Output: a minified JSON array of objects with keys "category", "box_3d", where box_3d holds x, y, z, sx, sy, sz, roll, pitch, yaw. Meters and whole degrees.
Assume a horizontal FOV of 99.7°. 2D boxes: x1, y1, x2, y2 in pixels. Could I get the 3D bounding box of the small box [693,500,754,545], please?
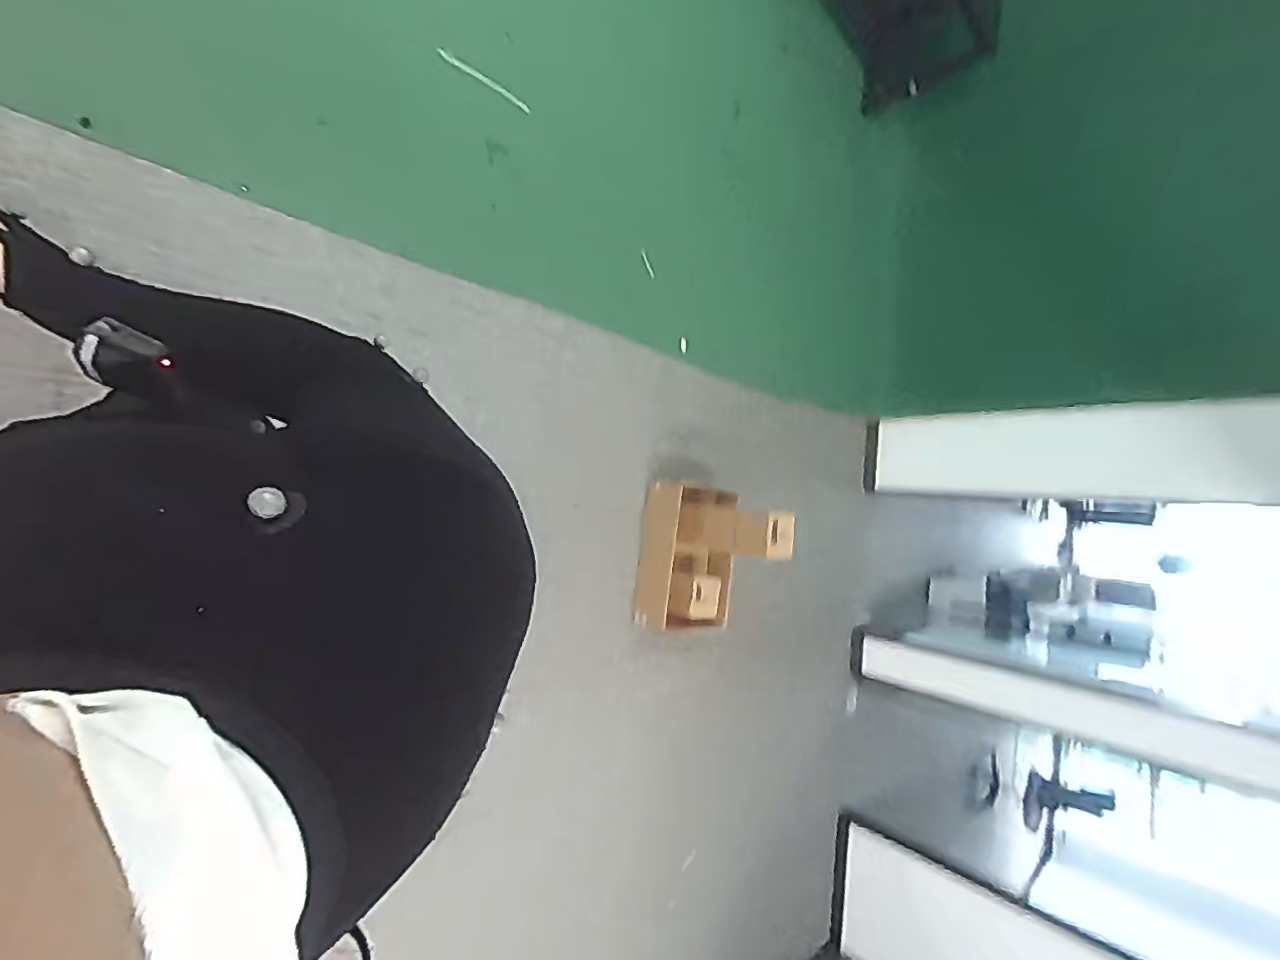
[{"category":"small box","box_3d":[0.341,0.171,2.202,0.179,0.176,0.168,6,87,-43]}]
